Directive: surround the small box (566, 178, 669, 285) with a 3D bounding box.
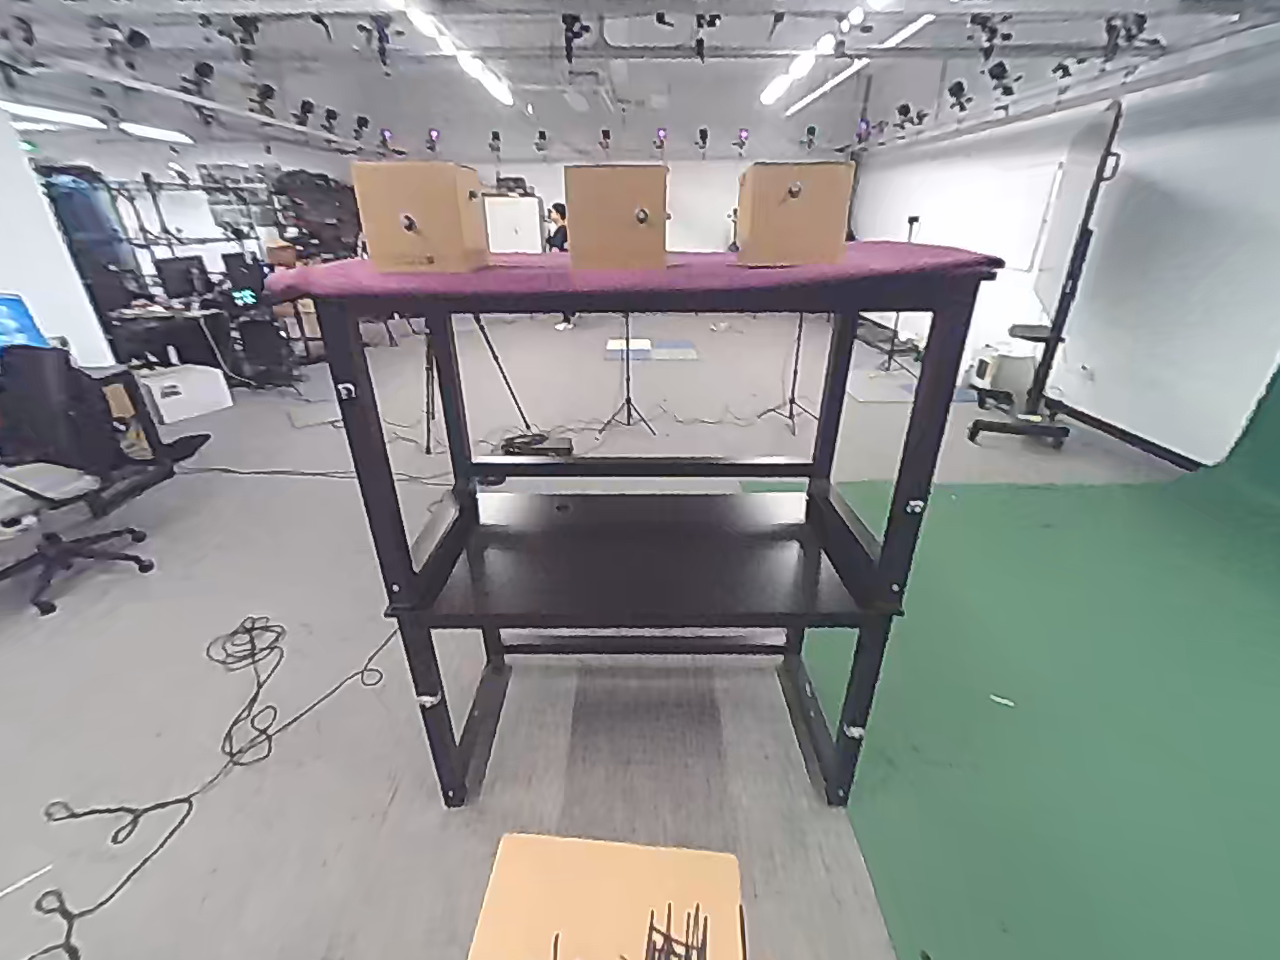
[{"bbox_3d":[-0.039,-0.465,1.016,0.179,0.176,0.168,-2,24,-1],"label":"small box"}]

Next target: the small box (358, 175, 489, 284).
[{"bbox_3d":[-0.380,-0.454,0.985,0.168,0.176,0.179,0,25,-2],"label":"small box"}]

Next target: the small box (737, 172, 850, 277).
[{"bbox_3d":[0.284,-0.481,1.039,0.179,0.176,0.168,0,23,2],"label":"small box"}]
